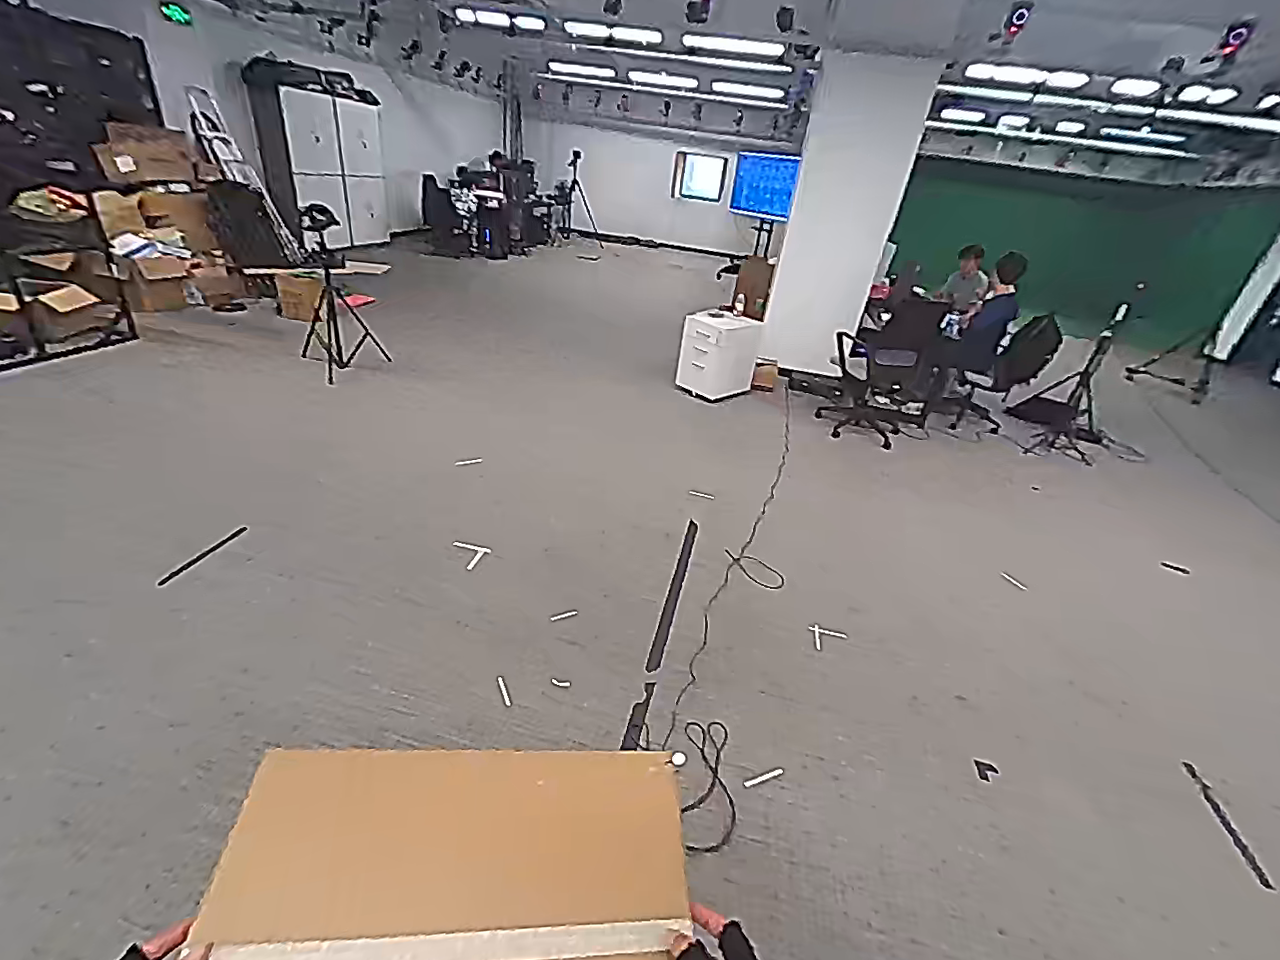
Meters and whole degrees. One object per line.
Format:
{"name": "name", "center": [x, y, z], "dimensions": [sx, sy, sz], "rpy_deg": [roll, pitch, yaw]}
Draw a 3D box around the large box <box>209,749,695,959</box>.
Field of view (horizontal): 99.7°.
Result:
{"name": "large box", "center": [-0.176, 0.500, 0.559], "dimensions": [0.408, 0.320, 0.320], "rpy_deg": [7, 43, -10]}
